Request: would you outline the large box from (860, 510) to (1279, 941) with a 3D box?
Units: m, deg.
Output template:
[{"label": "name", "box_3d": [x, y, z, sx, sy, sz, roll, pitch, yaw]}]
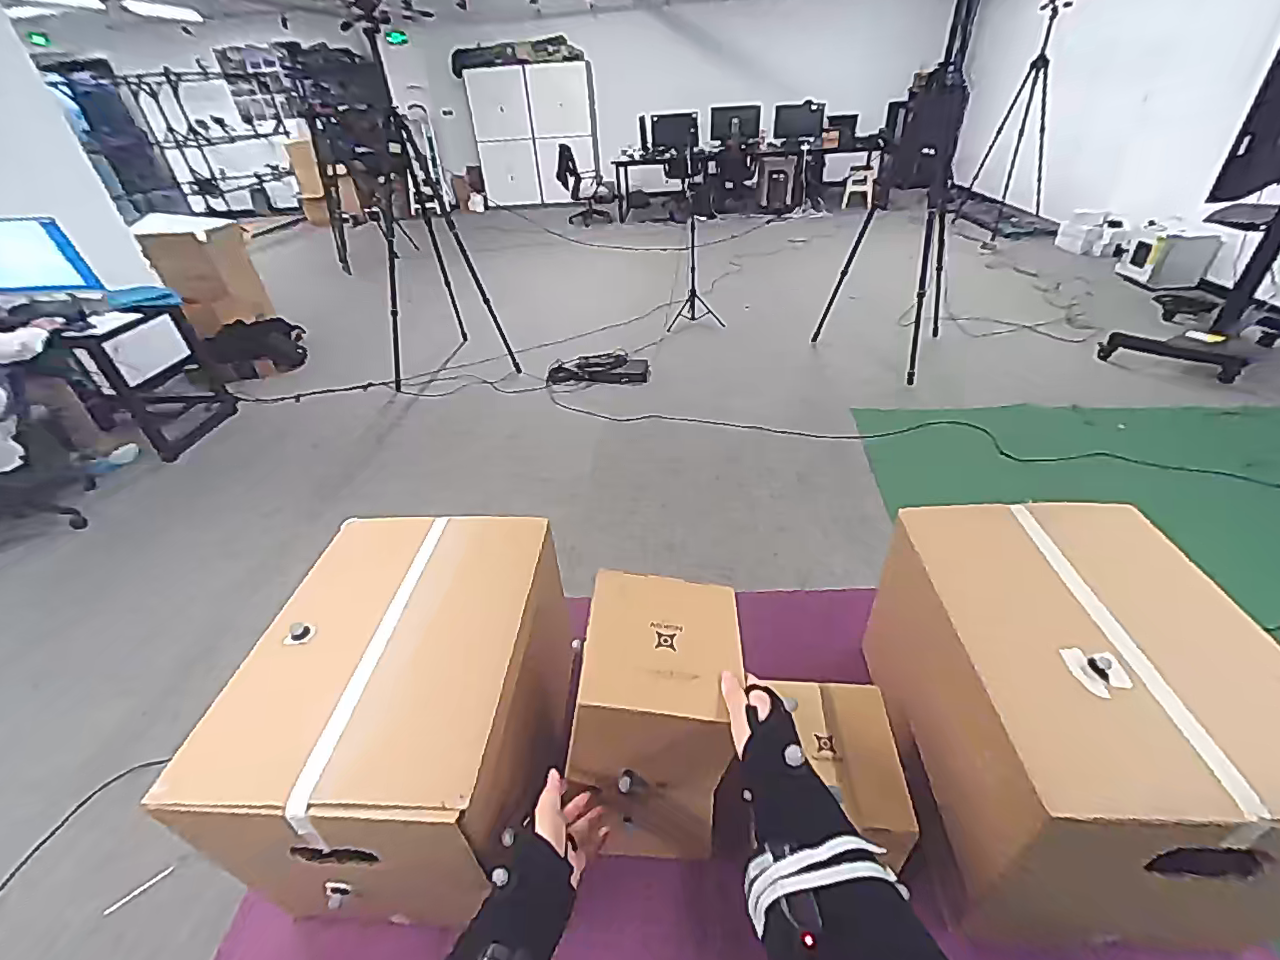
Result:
[{"label": "large box", "box_3d": [0.516, 0.284, 0.691, 0.320, 0.320, 0.408, 0, 37, 5]}]
